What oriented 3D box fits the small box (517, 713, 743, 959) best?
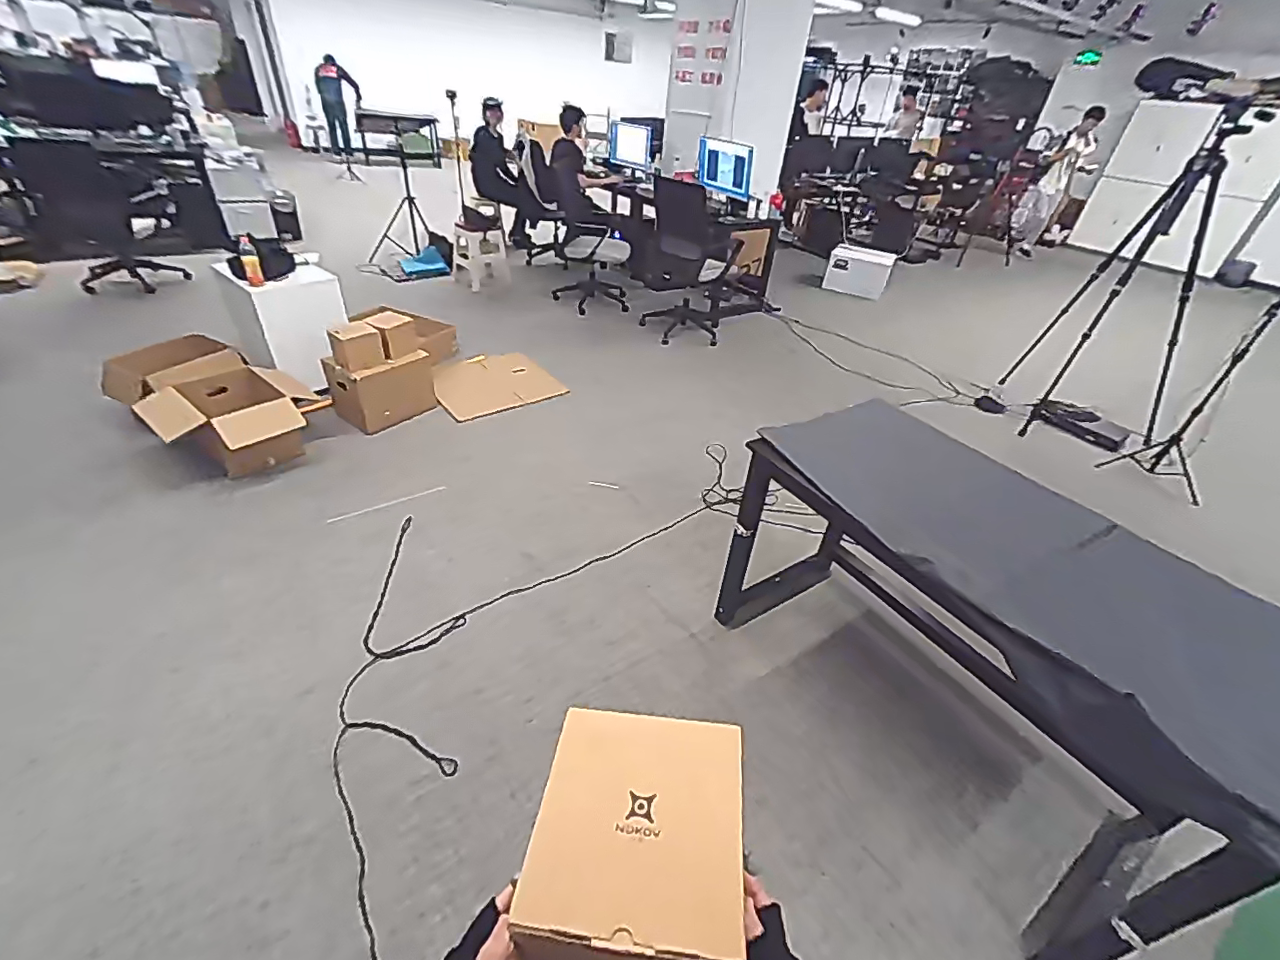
[{"bbox_3d":[0.003,0.347,0.490,0.168,0.176,0.179,3,34,7],"label":"small box"}]
